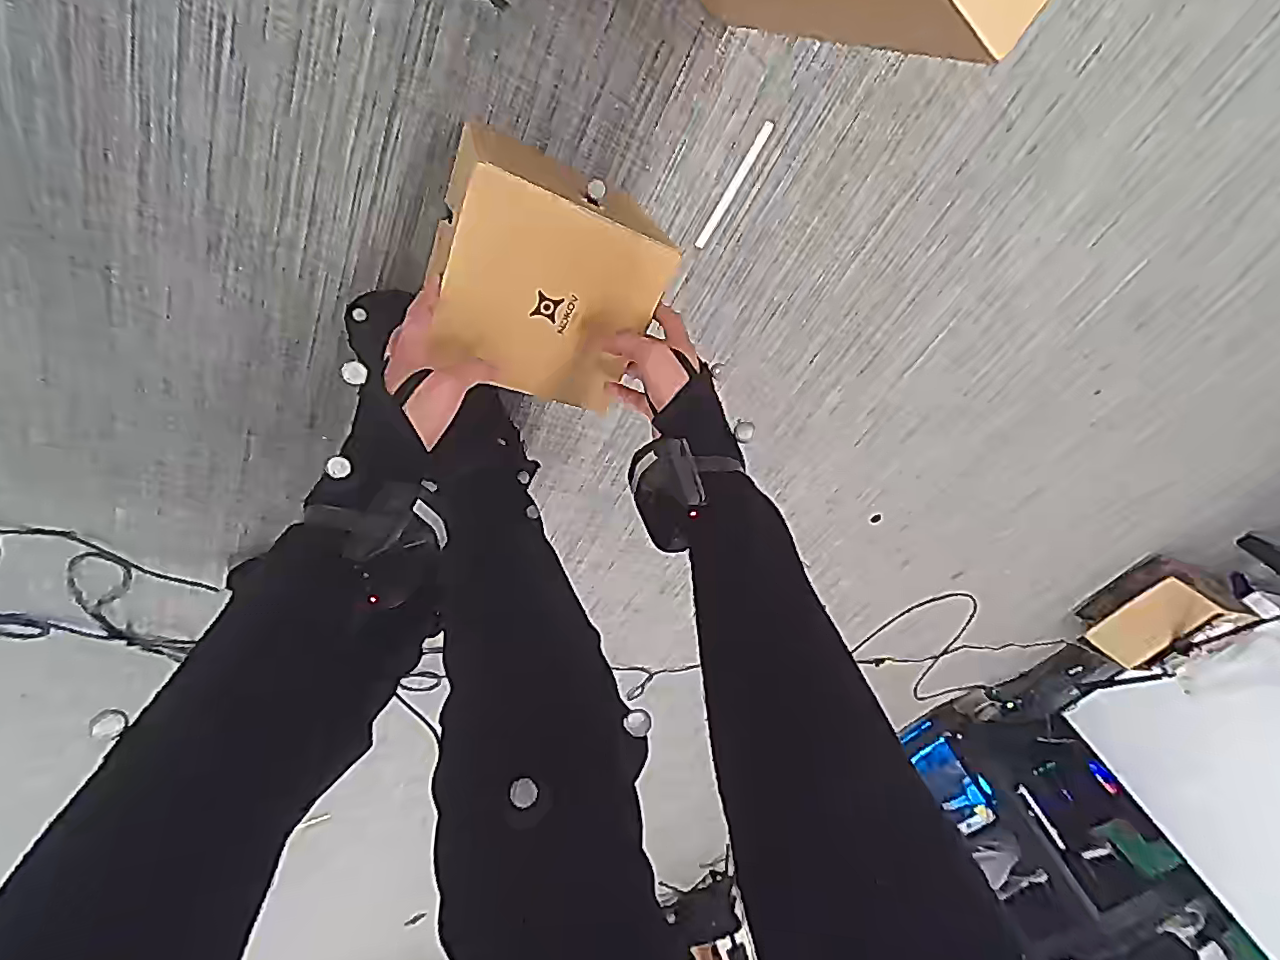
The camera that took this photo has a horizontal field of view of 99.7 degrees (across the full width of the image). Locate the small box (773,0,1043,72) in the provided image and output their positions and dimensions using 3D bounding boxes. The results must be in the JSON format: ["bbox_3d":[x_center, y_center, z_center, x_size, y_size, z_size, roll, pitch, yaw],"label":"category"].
[{"bbox_3d":[0.116,-0.325,0.233,0.179,0.176,0.168,17,123,-31],"label":"small box"}]

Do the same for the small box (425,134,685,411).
[{"bbox_3d":[-0.092,-0.194,0.506,0.179,0.176,0.168,11,126,-30],"label":"small box"}]
